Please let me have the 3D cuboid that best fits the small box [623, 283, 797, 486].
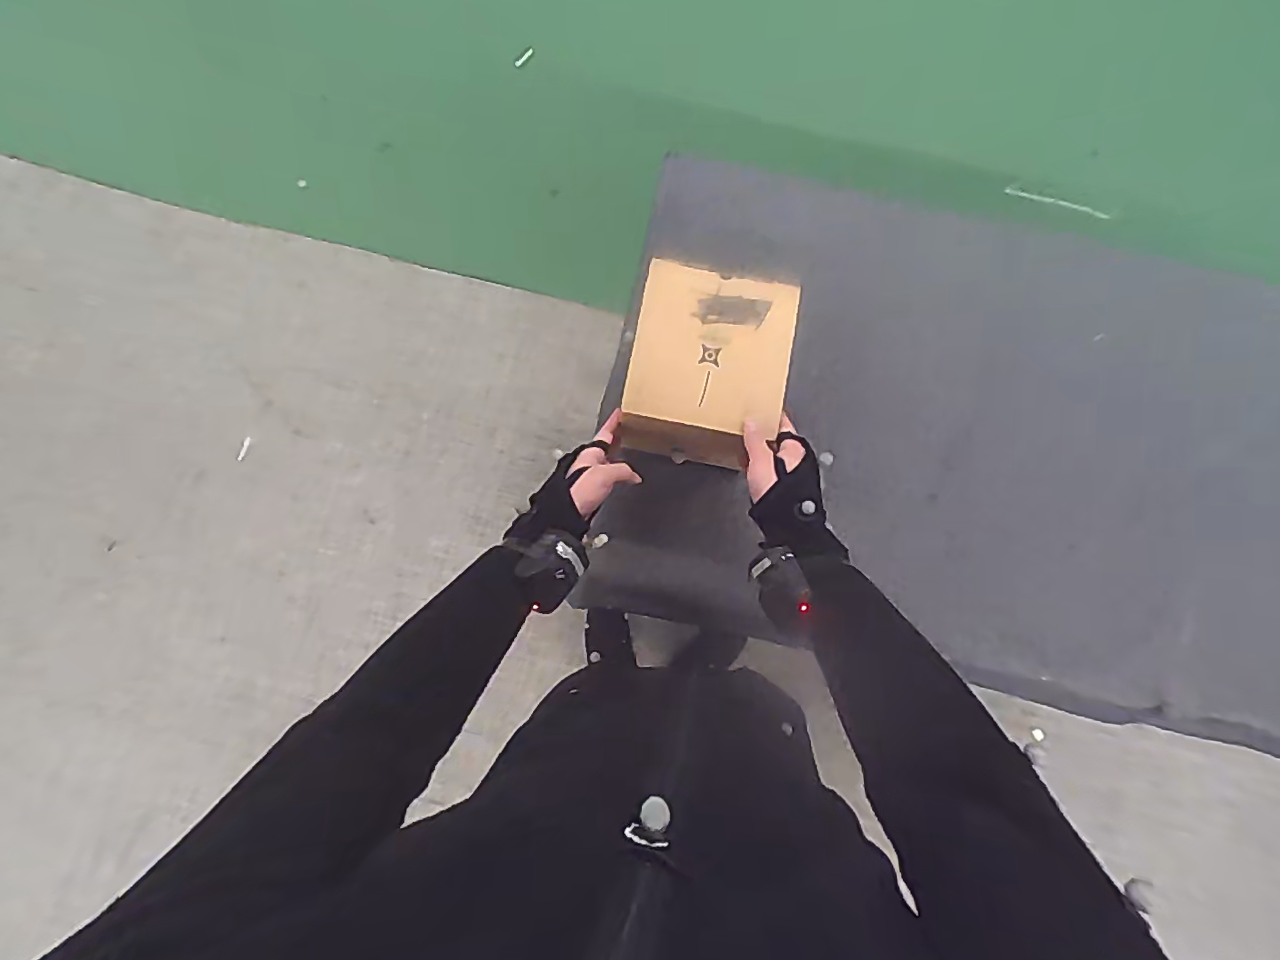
[{"bbox_3d":[0.073,-0.103,0.652,0.168,0.176,0.179,11,80,0],"label":"small box"}]
